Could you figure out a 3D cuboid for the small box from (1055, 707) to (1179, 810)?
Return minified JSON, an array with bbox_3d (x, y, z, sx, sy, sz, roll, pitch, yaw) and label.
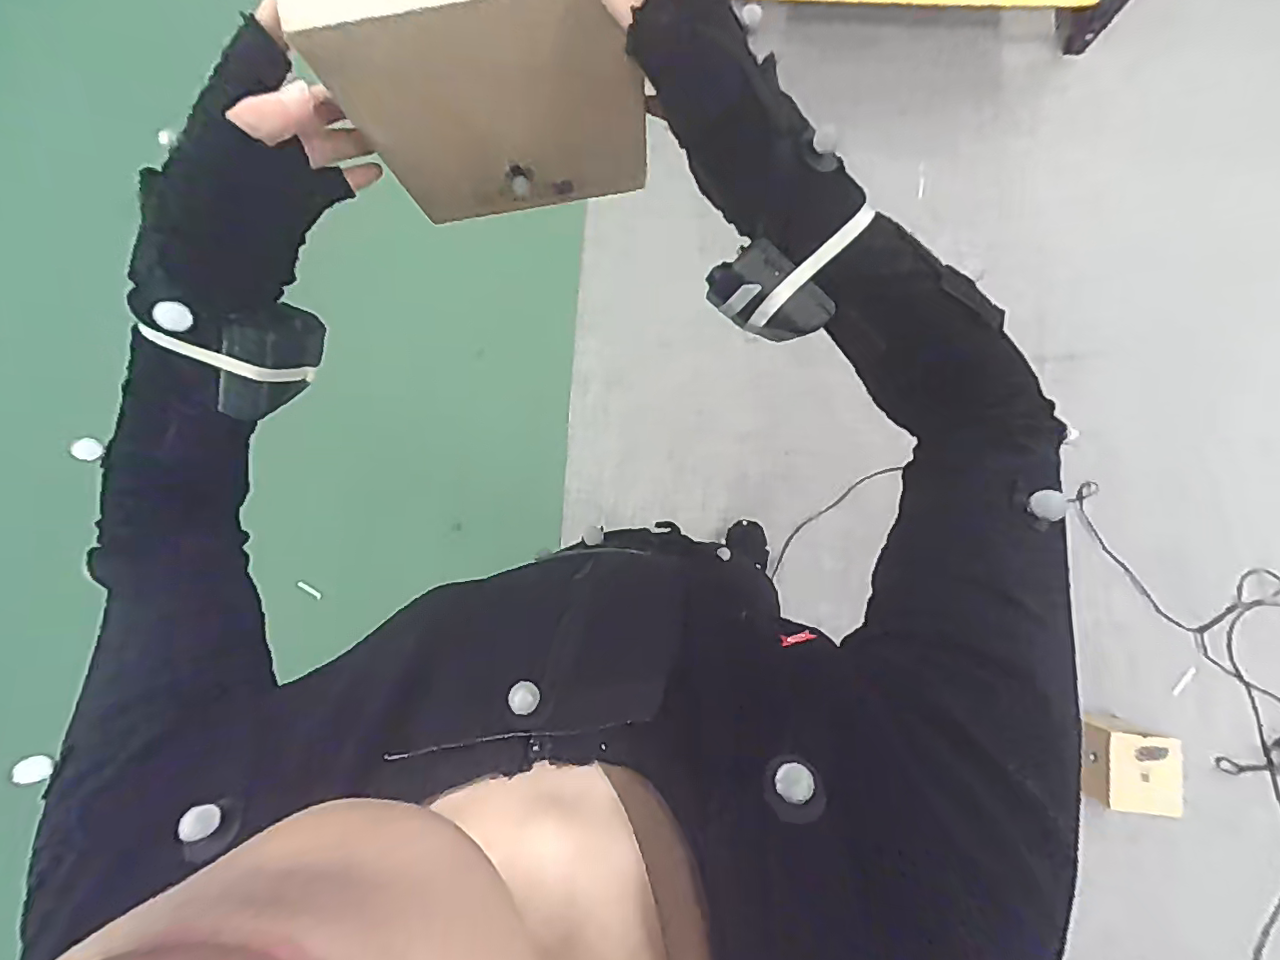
[{"bbox_3d":[1.163,0.674,1.330,0.168,0.176,0.179,5,84,1],"label":"small box"}]
